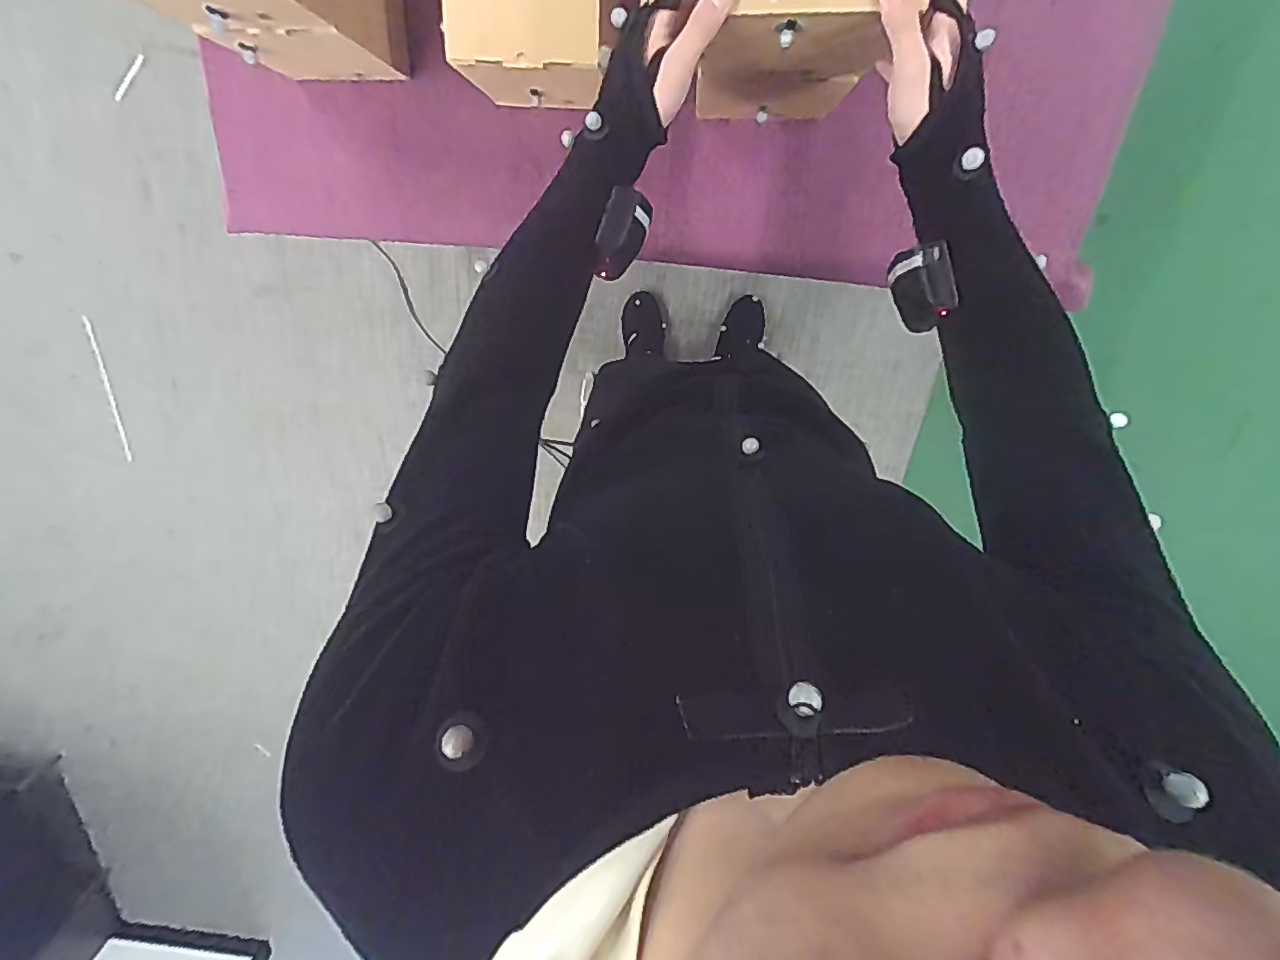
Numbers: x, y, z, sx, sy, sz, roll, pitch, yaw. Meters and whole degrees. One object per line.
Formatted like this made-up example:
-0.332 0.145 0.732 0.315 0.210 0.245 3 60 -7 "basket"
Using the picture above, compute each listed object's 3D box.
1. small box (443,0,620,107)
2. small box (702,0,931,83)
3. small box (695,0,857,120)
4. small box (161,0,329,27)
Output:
-0.114 -0.550 0.611 0.168 0.176 0.179 4 113 2 "small box"
0.141 -0.462 0.448 0.168 0.176 0.179 2 112 3 "small box"
0.150 -0.525 0.600 0.168 0.176 0.179 3 113 3 "small box"
-0.401 -0.530 0.459 0.168 0.176 0.179 3 112 3 "small box"
